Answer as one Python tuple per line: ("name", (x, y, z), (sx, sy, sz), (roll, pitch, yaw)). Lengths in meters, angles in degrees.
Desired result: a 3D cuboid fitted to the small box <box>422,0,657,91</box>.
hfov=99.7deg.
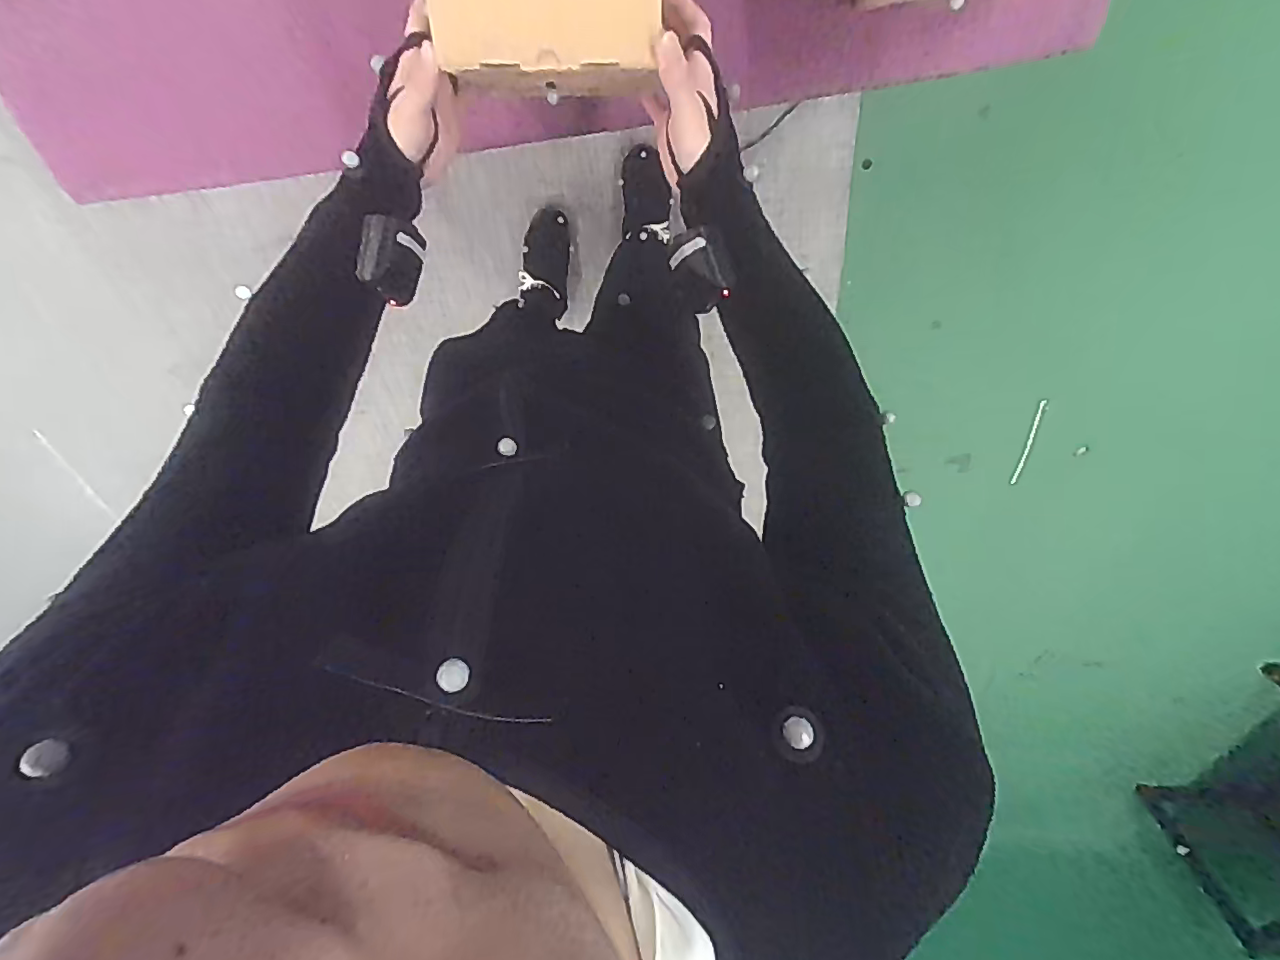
("small box", (-0.073, -0.419, 0.420), (0.168, 0.176, 0.179), (-2, 122, 1))
